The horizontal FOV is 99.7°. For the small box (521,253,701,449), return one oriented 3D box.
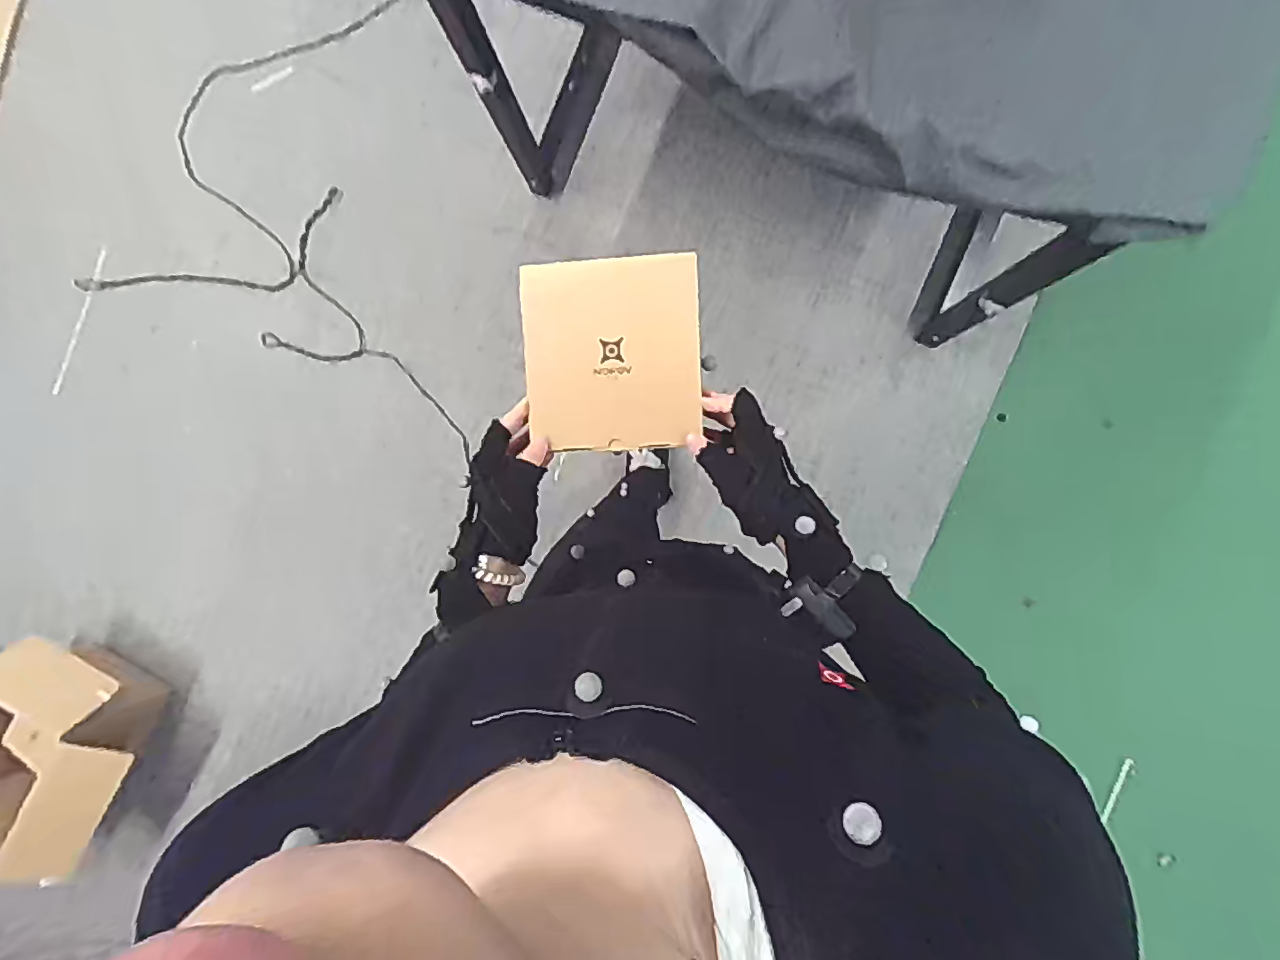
[{"bbox_3d":[-0.021,-0.126,0.581,0.168,0.176,0.179,-2,97,5],"label":"small box"}]
